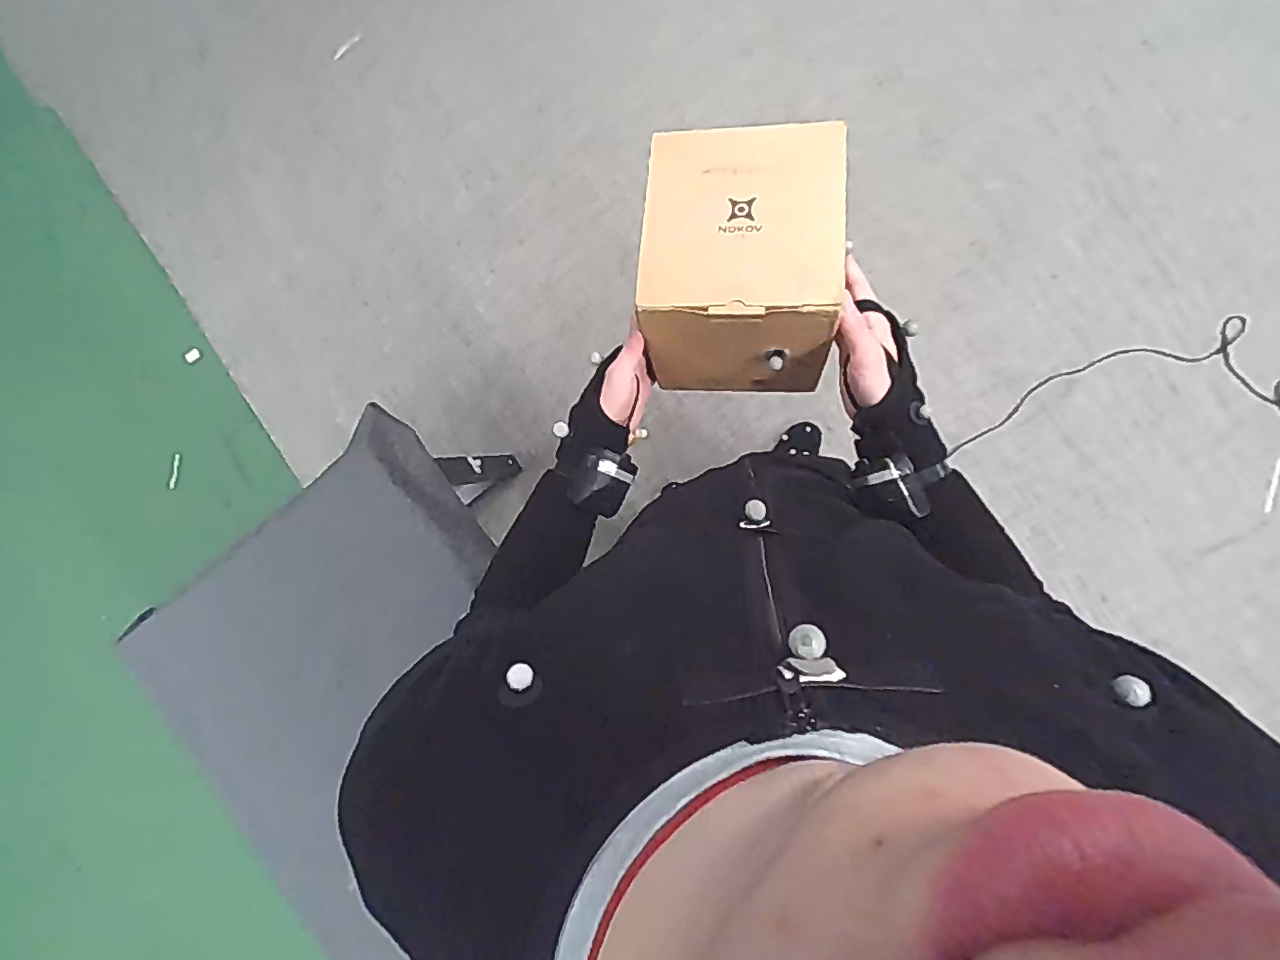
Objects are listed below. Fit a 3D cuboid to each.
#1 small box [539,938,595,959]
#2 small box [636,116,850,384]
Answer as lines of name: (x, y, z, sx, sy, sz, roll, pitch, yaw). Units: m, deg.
small box: (-0.129, 0.867, 0.824, 0.179, 0.176, 0.168, -37, 88, 7)
small box: (0.097, -0.203, 0.519, 0.168, 0.176, 0.179, 3, 76, 9)
